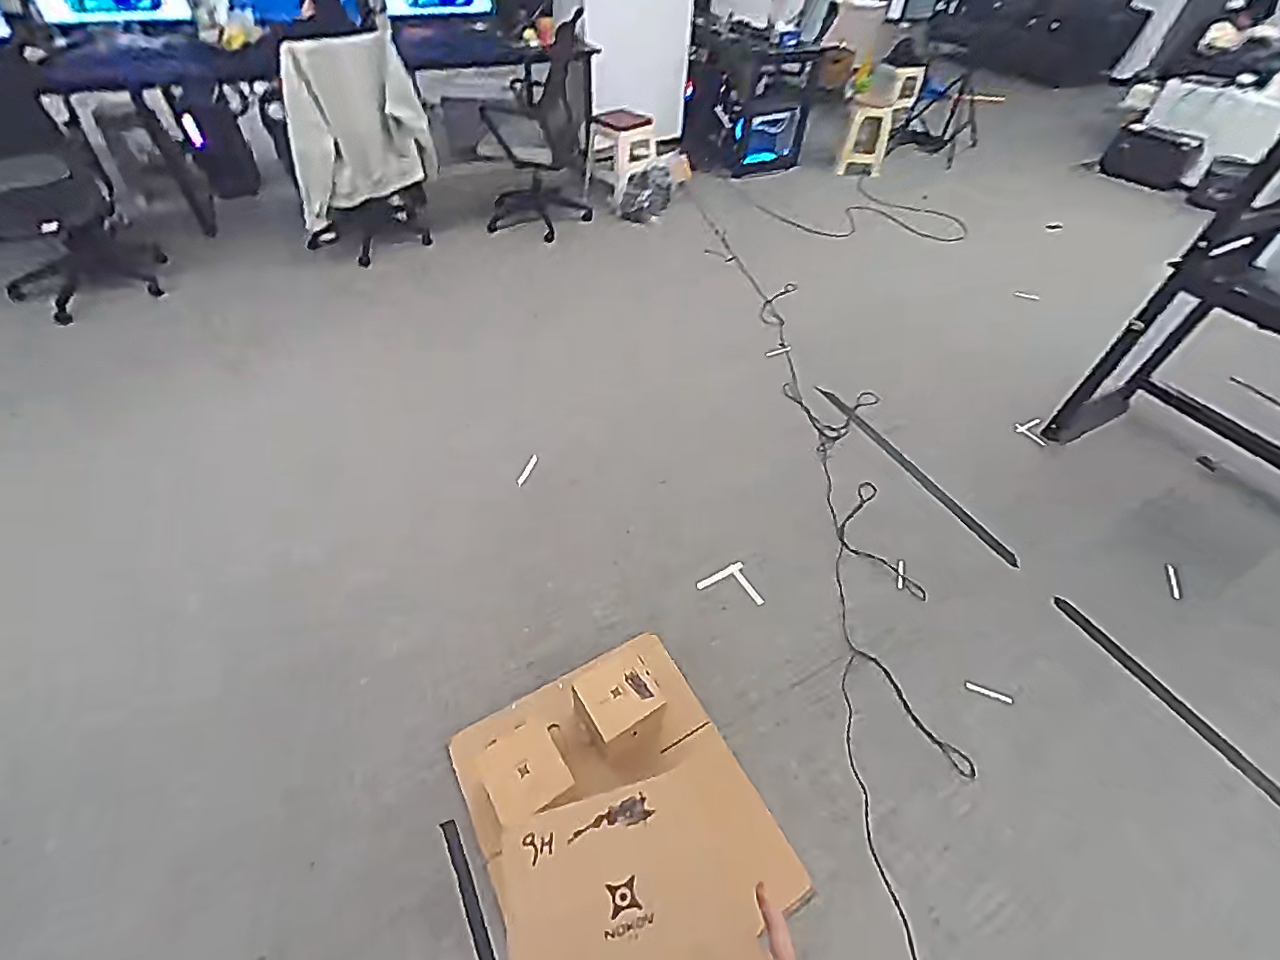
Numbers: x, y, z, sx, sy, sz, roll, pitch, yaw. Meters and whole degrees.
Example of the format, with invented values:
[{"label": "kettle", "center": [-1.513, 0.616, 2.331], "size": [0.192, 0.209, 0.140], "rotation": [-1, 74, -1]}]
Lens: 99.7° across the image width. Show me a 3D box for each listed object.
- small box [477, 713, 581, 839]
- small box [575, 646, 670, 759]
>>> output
[{"label": "small box", "center": [-0.248, 0.674, 1.225], "size": [0.168, 0.176, 0.179], "rotation": [-28, 56, -23]}, {"label": "small box", "center": [-0.048, 0.553, 1.340], "size": [0.179, 0.176, 0.168], "rotation": [-26, 55, -23]}]
